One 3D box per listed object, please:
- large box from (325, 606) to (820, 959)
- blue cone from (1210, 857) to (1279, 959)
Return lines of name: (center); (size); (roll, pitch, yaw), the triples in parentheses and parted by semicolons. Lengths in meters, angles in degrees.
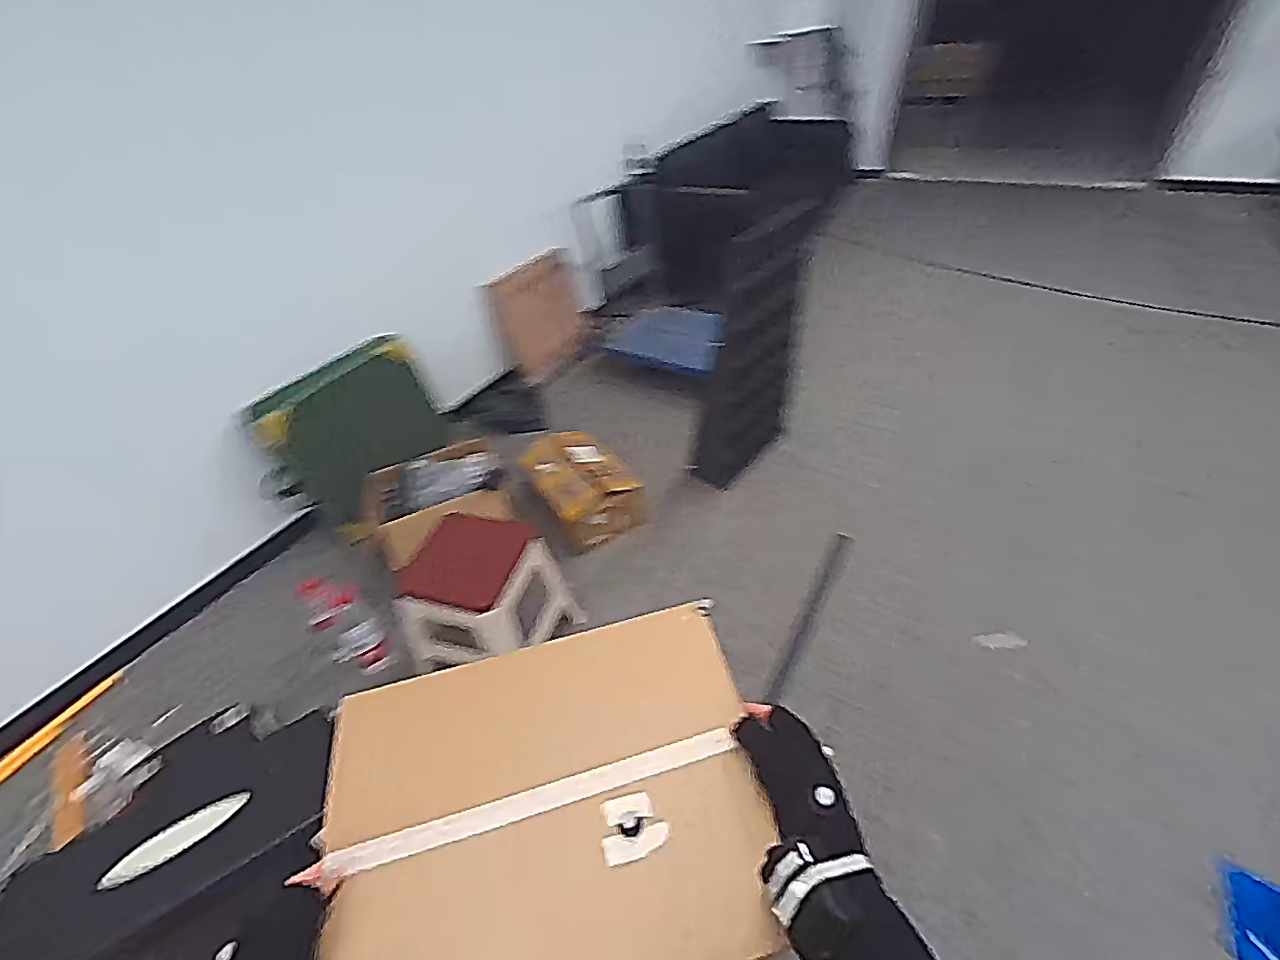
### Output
large box: (-0.074, 0.399, 0.616); (0.408, 0.320, 0.320); (-12, 47, -8)
blue cone: (1.282, 0.777, 0.994); (0.193, 0.380, 0.192); (21, 47, 28)
